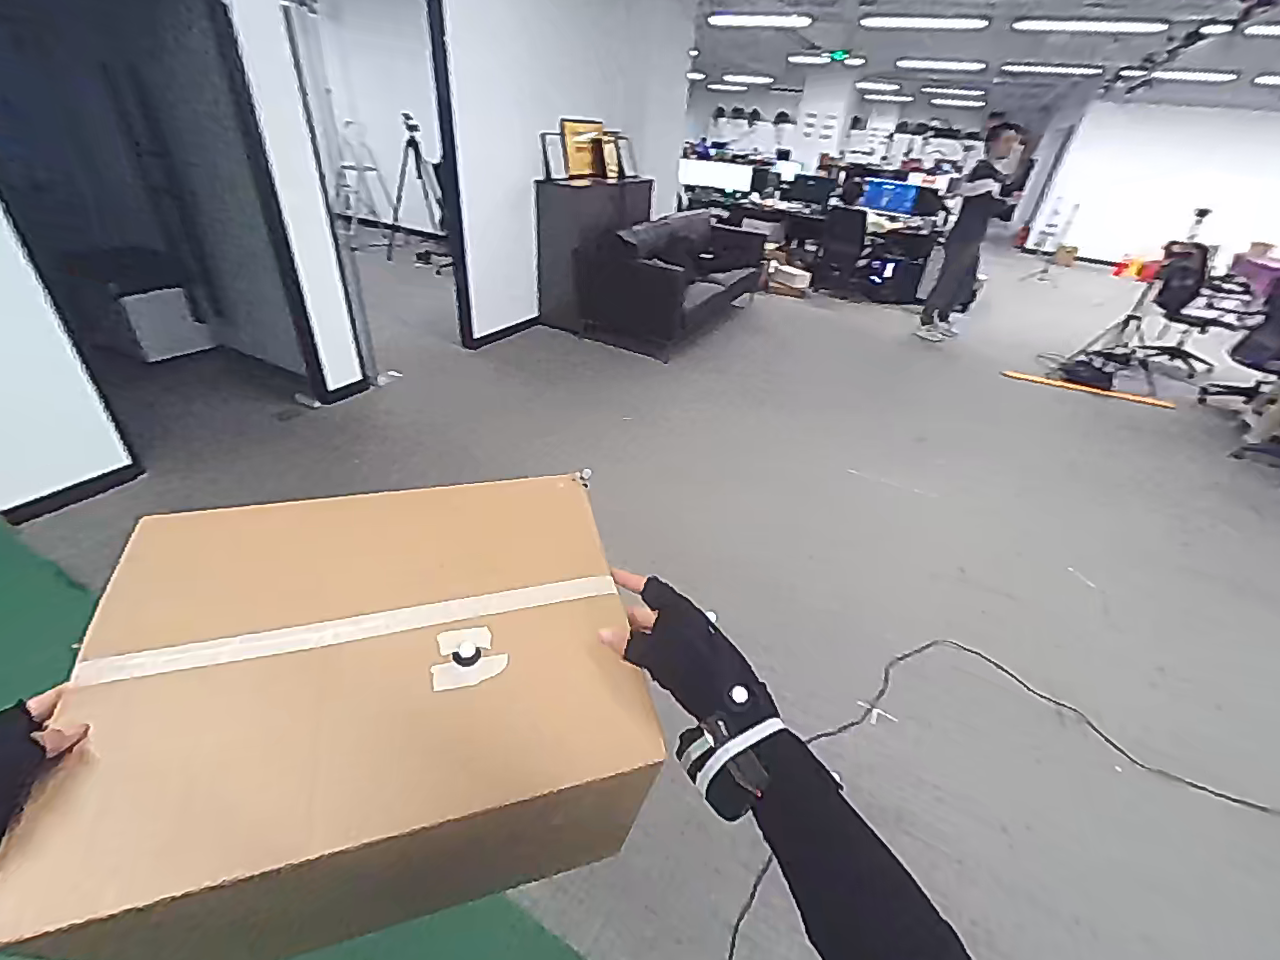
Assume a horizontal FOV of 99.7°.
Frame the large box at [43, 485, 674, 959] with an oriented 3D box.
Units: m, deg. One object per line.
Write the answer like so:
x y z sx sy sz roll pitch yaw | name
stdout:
-0.222 0.238 0.569 0.408 0.320 0.320 -6 46 -17 | large box
